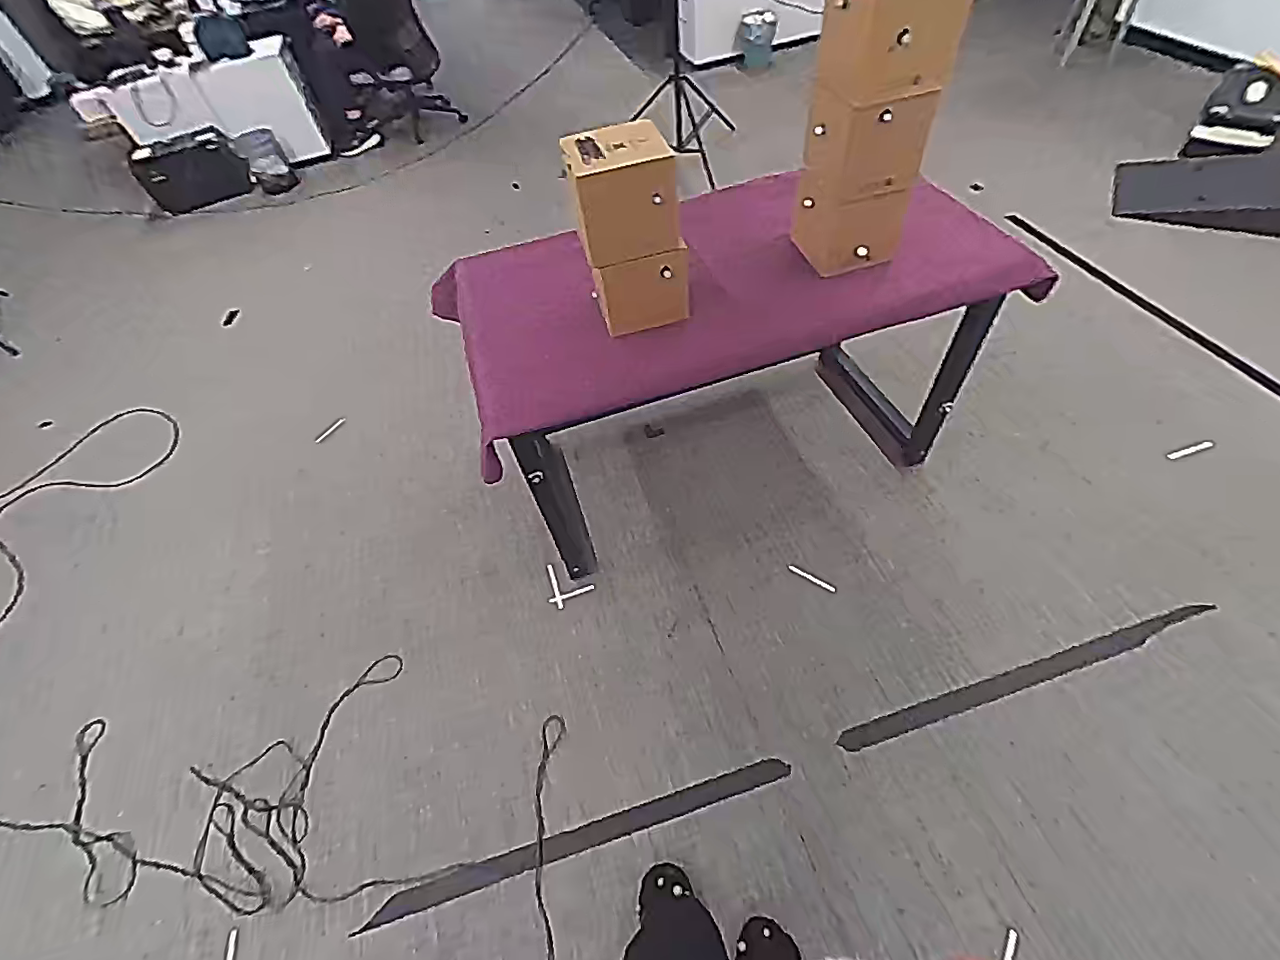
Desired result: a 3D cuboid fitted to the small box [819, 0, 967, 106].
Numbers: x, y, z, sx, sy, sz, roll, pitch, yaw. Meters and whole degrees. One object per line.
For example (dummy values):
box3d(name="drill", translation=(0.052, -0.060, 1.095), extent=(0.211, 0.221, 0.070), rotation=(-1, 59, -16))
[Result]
box3d(name="small box", translation=(0.421, -0.756, 0.912), extent=(0.168, 0.176, 0.179), rotation=(-14, 53, -2))

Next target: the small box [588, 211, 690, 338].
box3d(name="small box", translation=(0.001, -0.427, 1.134), extent=(0.179, 0.176, 0.168), rotation=(-15, 53, -3))

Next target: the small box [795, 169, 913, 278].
box3d(name="small box", translation=(0.453, -0.572, 1.181), extent=(0.168, 0.176, 0.179), rotation=(-16, 54, -3))

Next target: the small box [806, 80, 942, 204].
box3d(name="small box", translation=(0.437, -0.665, 1.047), extent=(0.168, 0.176, 0.179), rotation=(-14, 52, -2))
